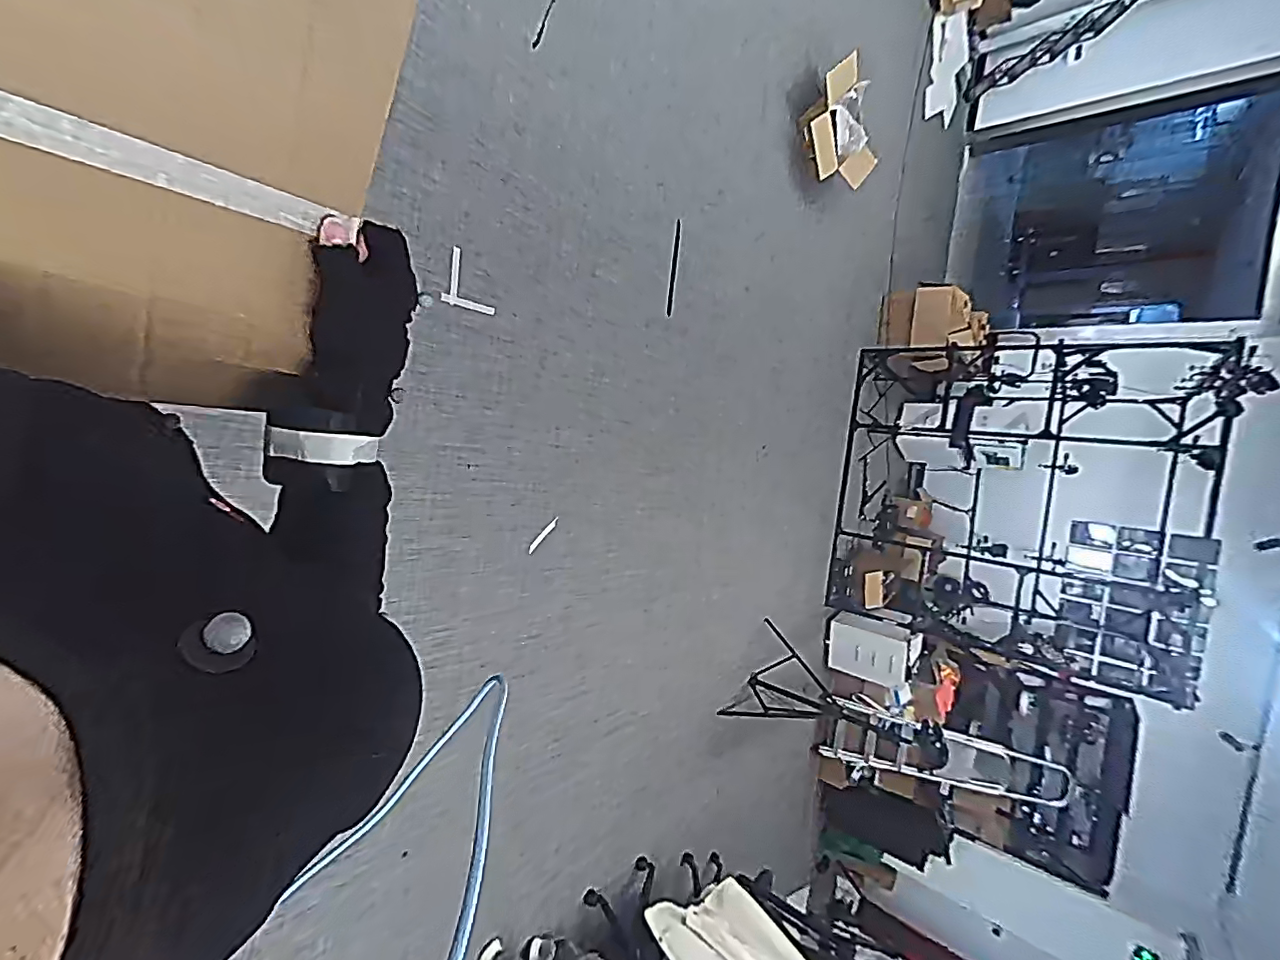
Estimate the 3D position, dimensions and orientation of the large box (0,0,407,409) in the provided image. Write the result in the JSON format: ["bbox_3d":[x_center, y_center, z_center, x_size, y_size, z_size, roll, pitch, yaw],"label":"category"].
[{"bbox_3d":[-0.424,-0.269,0.312,0.408,0.320,0.320,1,130,-48],"label":"large box"}]
